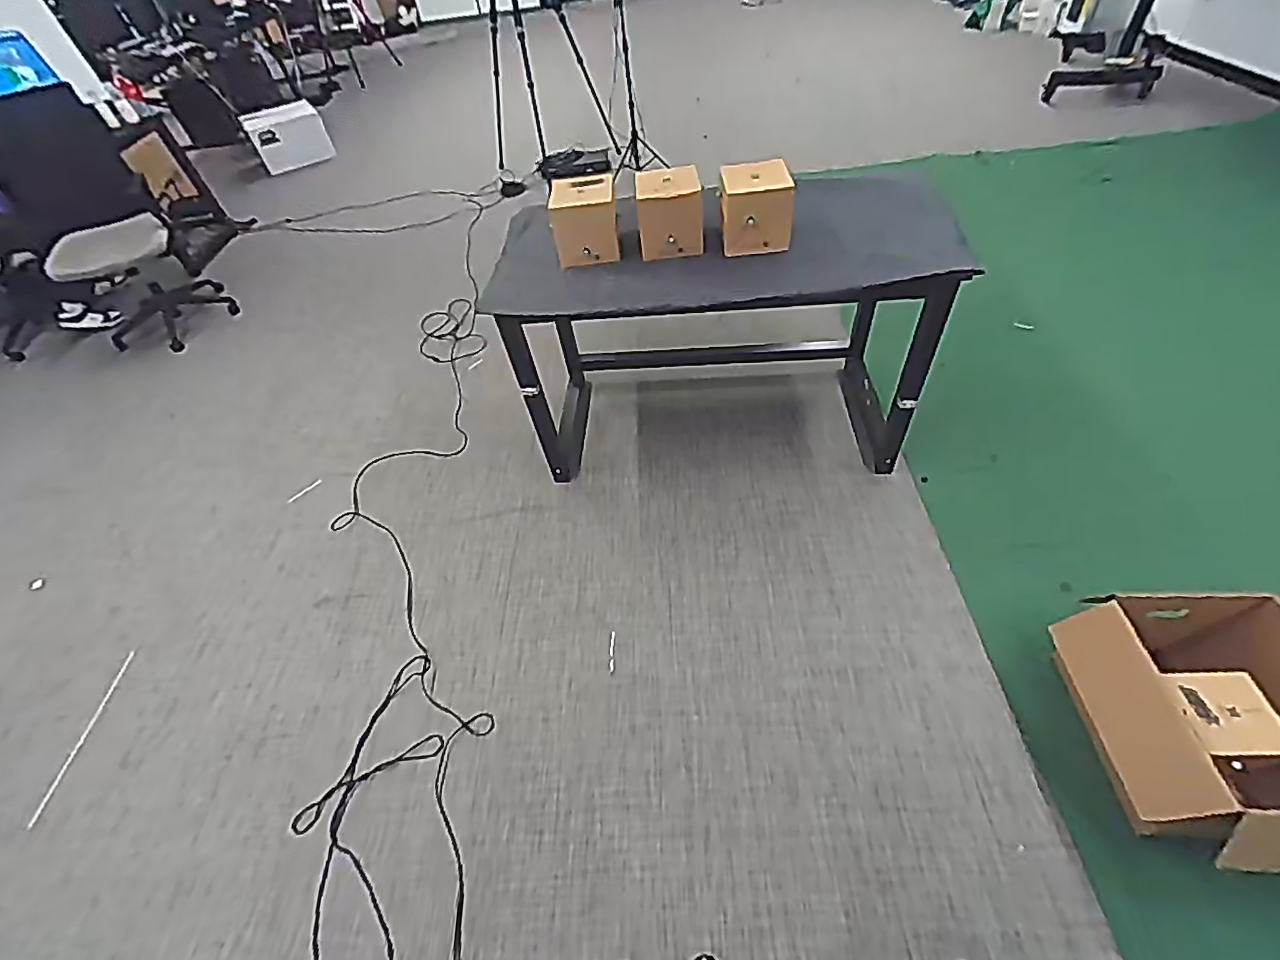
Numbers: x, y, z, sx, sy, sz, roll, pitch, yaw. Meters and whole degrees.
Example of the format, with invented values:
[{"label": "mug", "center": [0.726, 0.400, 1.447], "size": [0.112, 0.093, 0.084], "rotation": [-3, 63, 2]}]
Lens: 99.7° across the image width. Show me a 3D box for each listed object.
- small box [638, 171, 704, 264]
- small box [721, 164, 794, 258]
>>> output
[{"label": "small box", "center": [0.084, -0.708, 1.464], "size": [0.168, 0.176, 0.179], "rotation": [-5, 49, 4]}, {"label": "small box", "center": [0.305, -0.703, 1.429], "size": [0.168, 0.176, 0.179], "rotation": [-5, 48, 5]}]
